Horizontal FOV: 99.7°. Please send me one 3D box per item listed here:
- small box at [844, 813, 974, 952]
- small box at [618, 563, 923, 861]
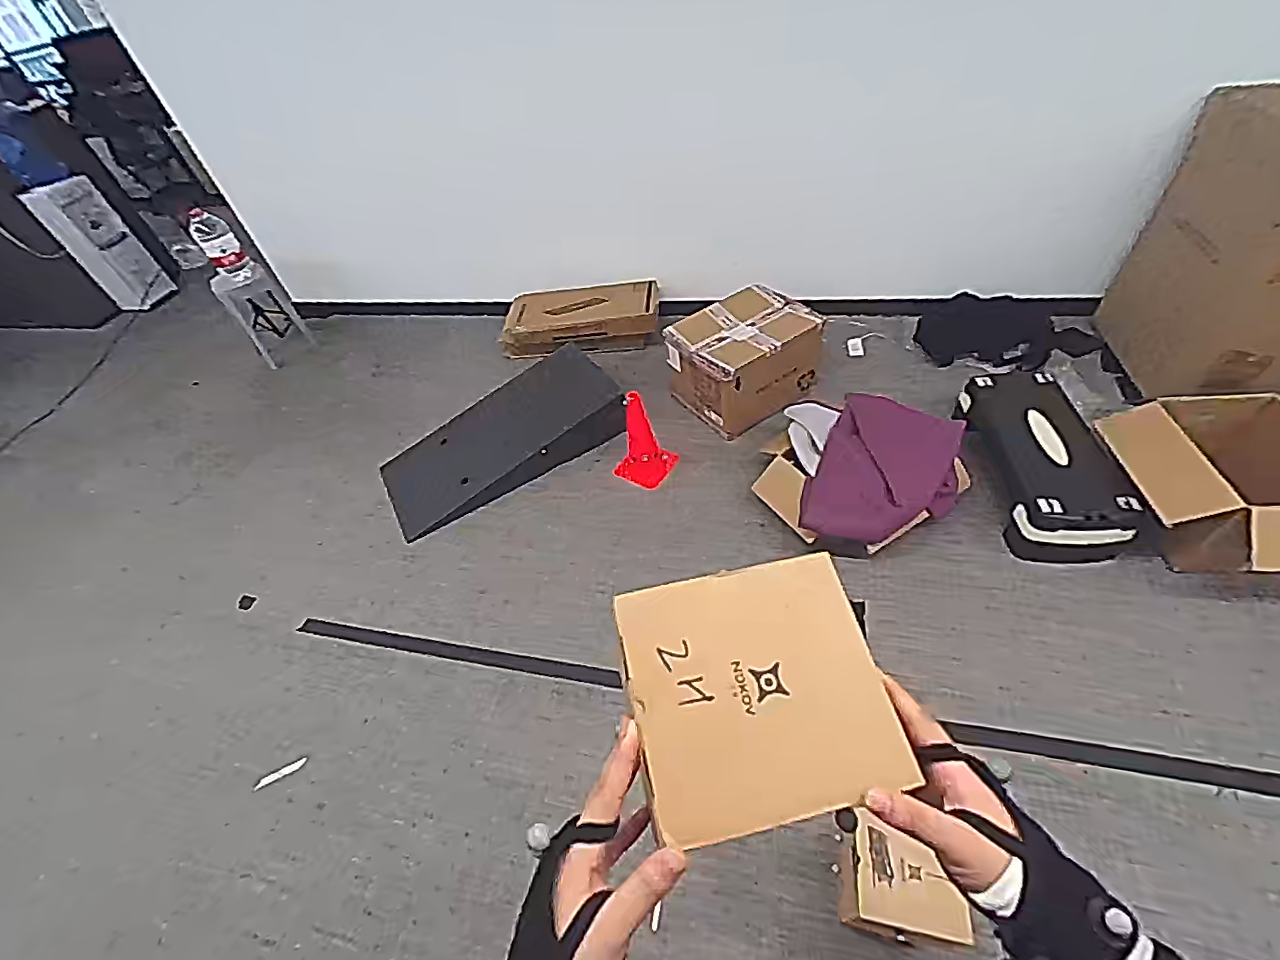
[{"bbox_3d":[0.467,0.724,0.974,0.179,0.176,0.168,5,49,14],"label":"small box"},{"bbox_3d":[0.081,0.186,0.441,0.179,0.176,0.168,-10,60,-6],"label":"small box"}]
